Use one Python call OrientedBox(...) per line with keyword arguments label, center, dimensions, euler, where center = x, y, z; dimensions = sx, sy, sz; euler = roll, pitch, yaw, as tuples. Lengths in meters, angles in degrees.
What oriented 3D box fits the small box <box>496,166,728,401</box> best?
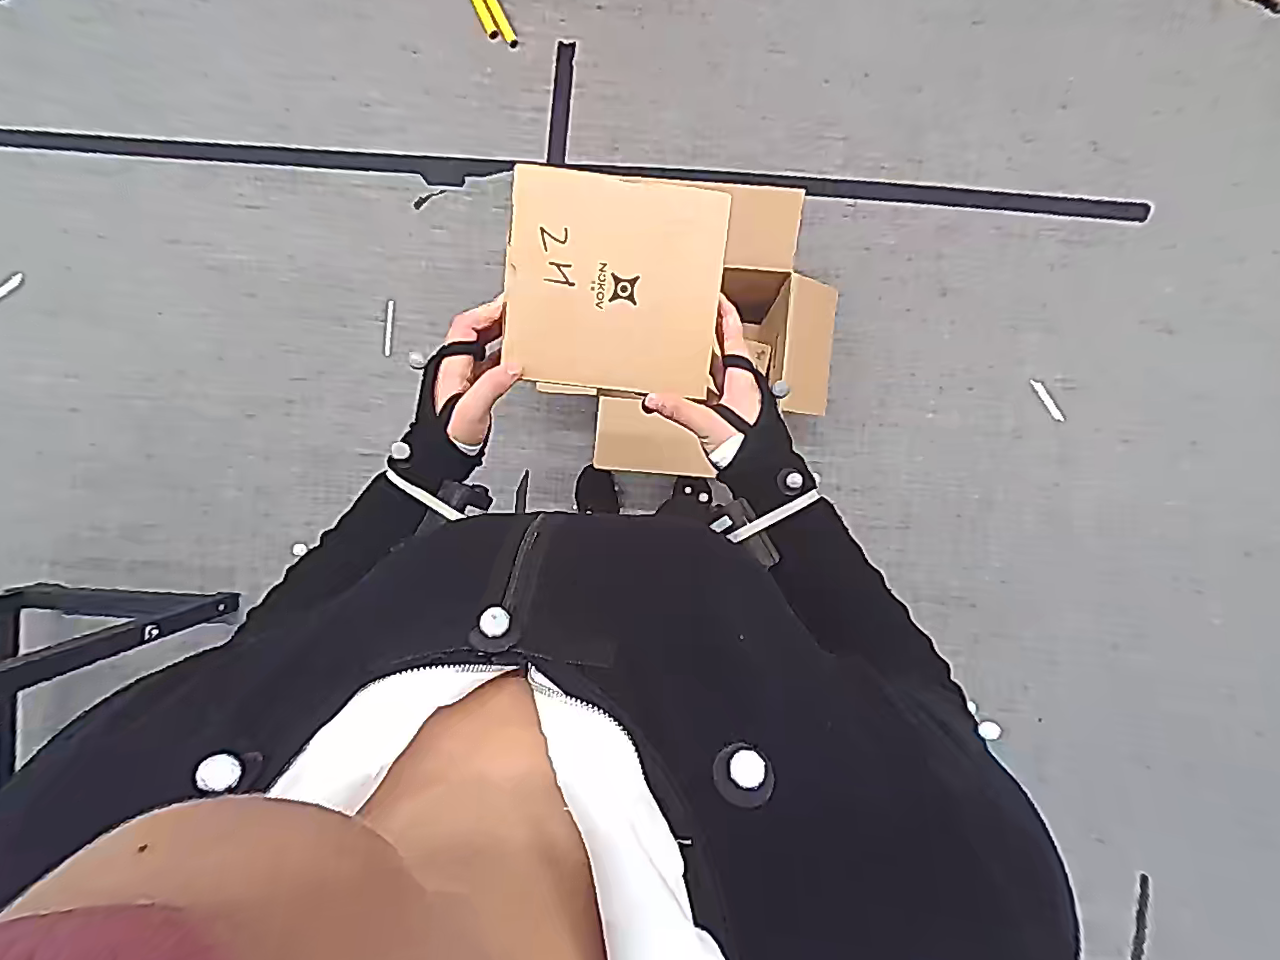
OrientedBox(label="small box", center=(-0.028, -0.171, 0.519), dimensions=(0.179, 0.176, 0.168), euler=(6, 99, -4))
